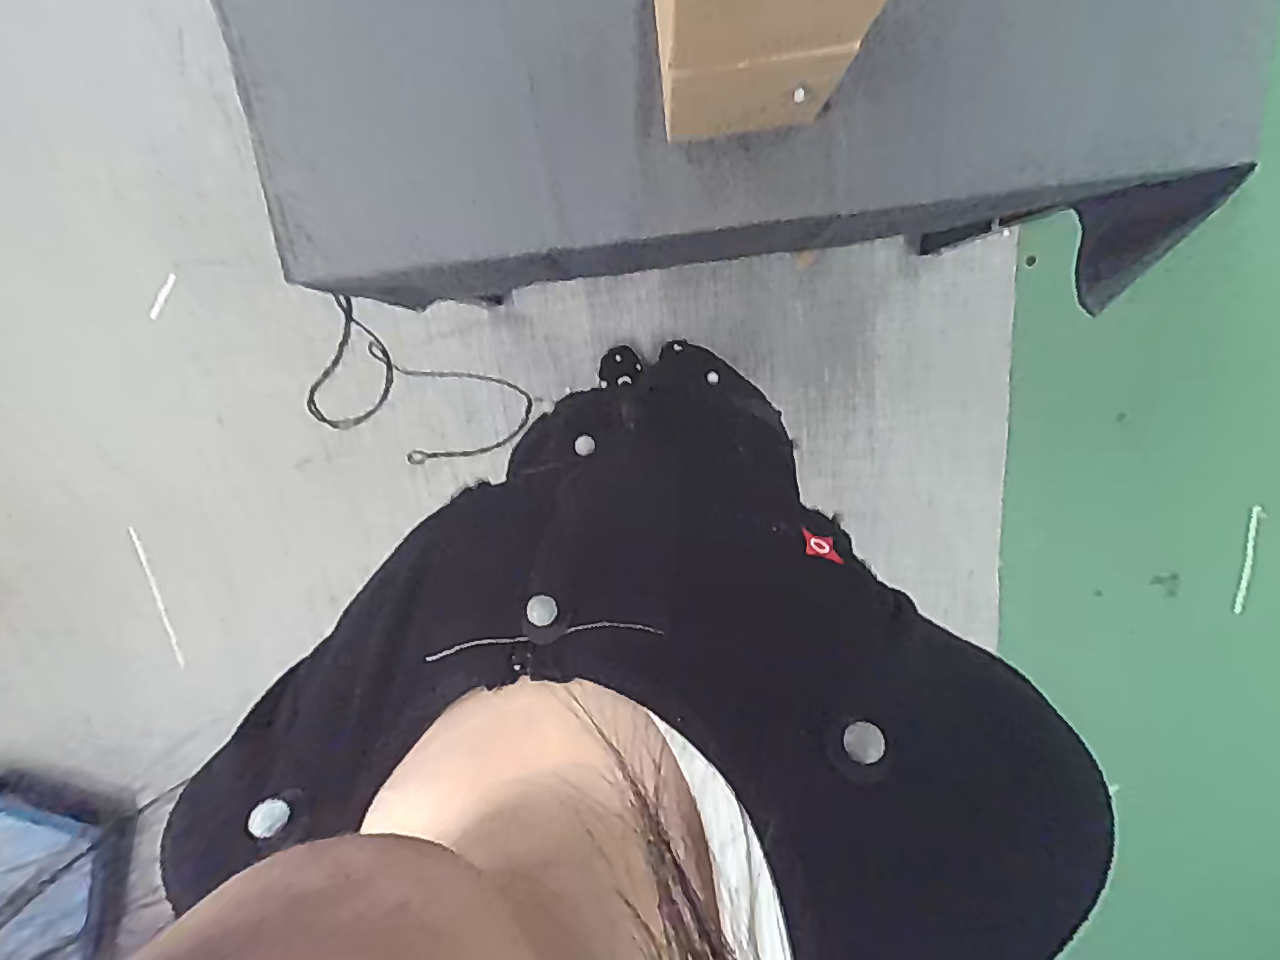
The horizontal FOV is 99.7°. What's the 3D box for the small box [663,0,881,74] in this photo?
[{"bbox_3d":[0.102,-0.444,0.402,0.179,0.176,0.168,-7,102,4],"label":"small box"}]
